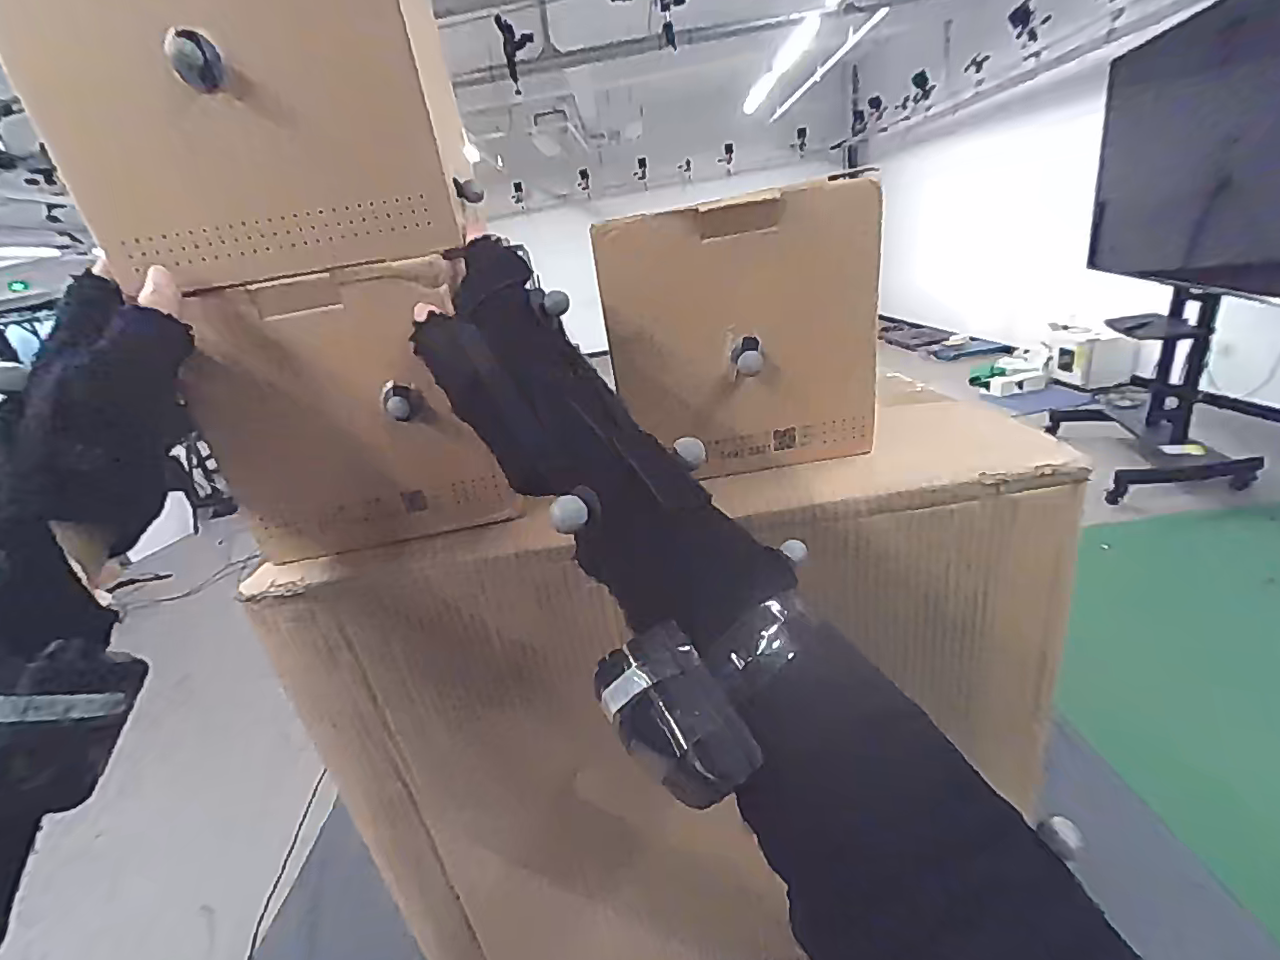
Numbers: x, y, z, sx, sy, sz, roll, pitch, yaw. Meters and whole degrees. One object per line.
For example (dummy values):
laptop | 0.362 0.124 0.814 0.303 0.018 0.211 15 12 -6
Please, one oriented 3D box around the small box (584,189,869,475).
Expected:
small box | 0.056 -0.110 0.409 0.168 0.176 0.179 -8 25 1

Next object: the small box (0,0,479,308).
small box | -0.203 -0.209 0.326 0.179 0.176 0.168 -11 26 -9

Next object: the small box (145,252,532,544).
small box | -0.183 -0.064 0.400 0.168 0.176 0.179 -9 24 -2
